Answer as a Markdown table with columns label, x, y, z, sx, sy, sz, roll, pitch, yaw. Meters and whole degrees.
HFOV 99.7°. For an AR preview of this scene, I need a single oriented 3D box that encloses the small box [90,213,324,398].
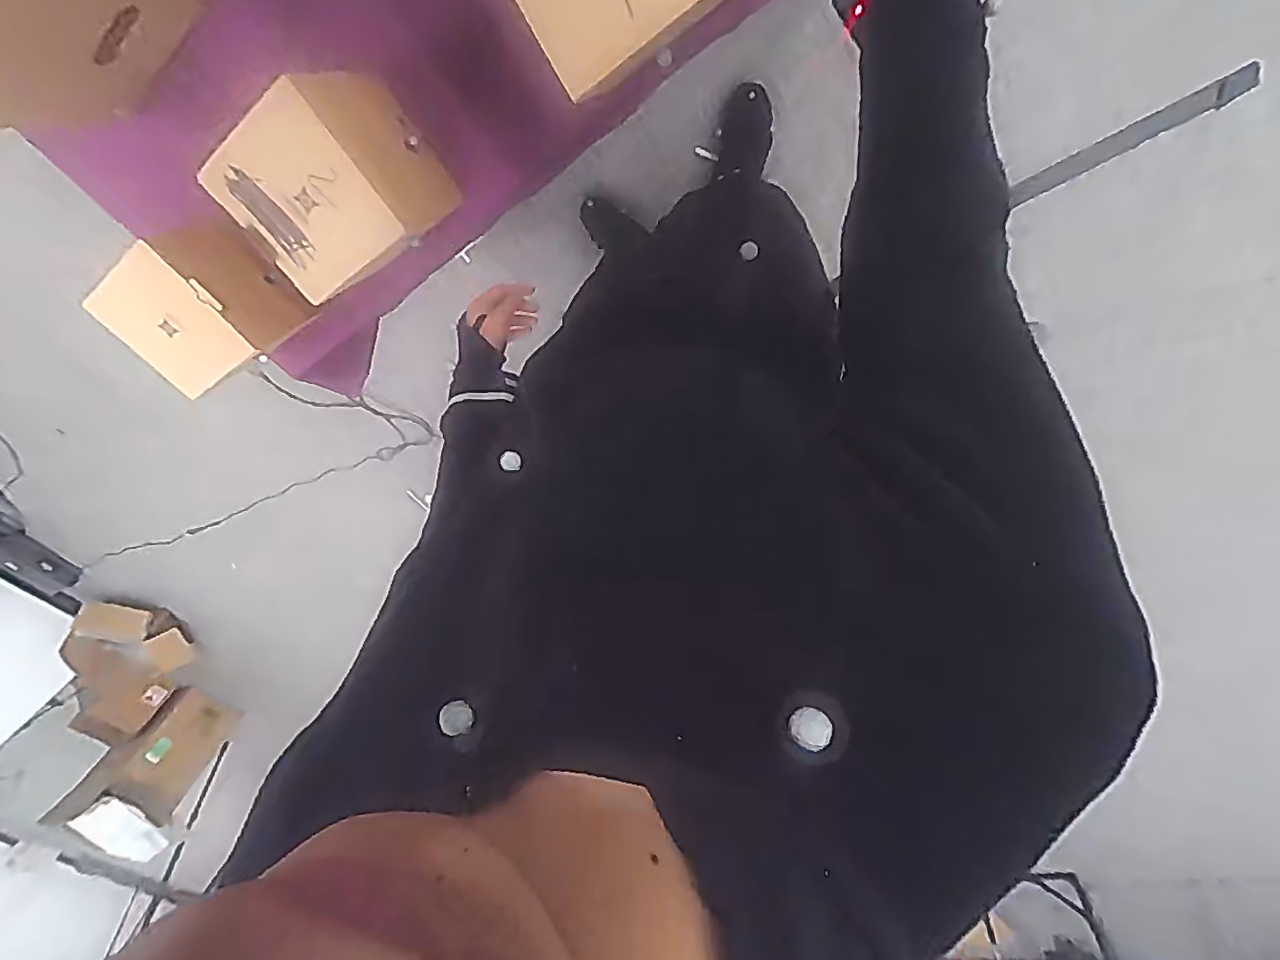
| label | x | y | z | sx | sy | sz | roll | pitch | yaw |
| --- | --- | --- | --- | --- | --- | --- | --- | --- | --- |
| small box | -0.607 | -0.252 | 0.781 | 0.179 | 0.176 | 0.168 | -22 | 121 | 24 |
